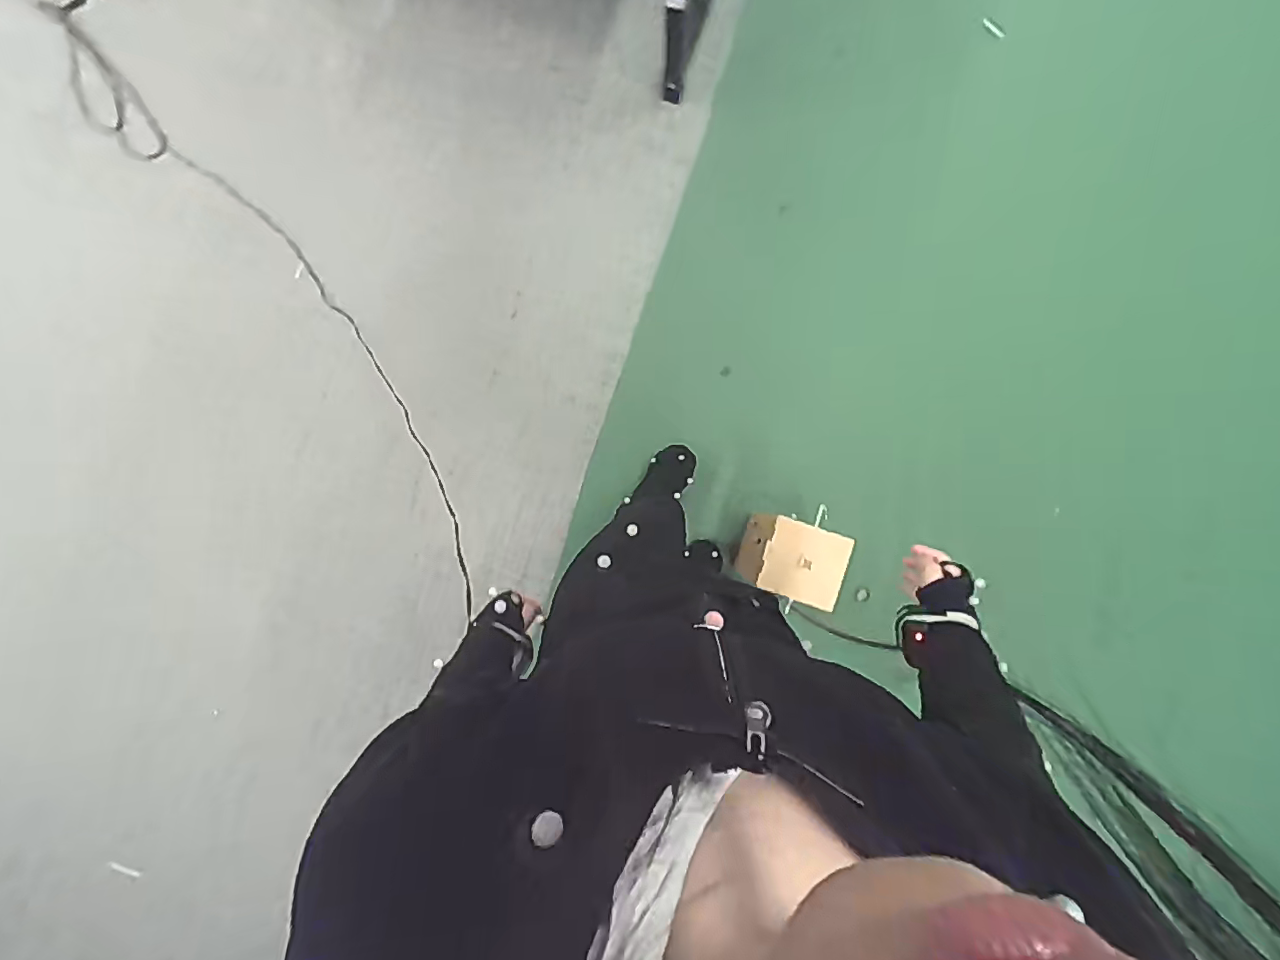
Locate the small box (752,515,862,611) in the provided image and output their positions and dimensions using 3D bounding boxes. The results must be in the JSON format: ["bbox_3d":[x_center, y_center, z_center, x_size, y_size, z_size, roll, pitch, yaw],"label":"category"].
[{"bbox_3d":[0.377,0.181,1.249,0.179,0.176,0.168,19,89,3],"label":"small box"}]
